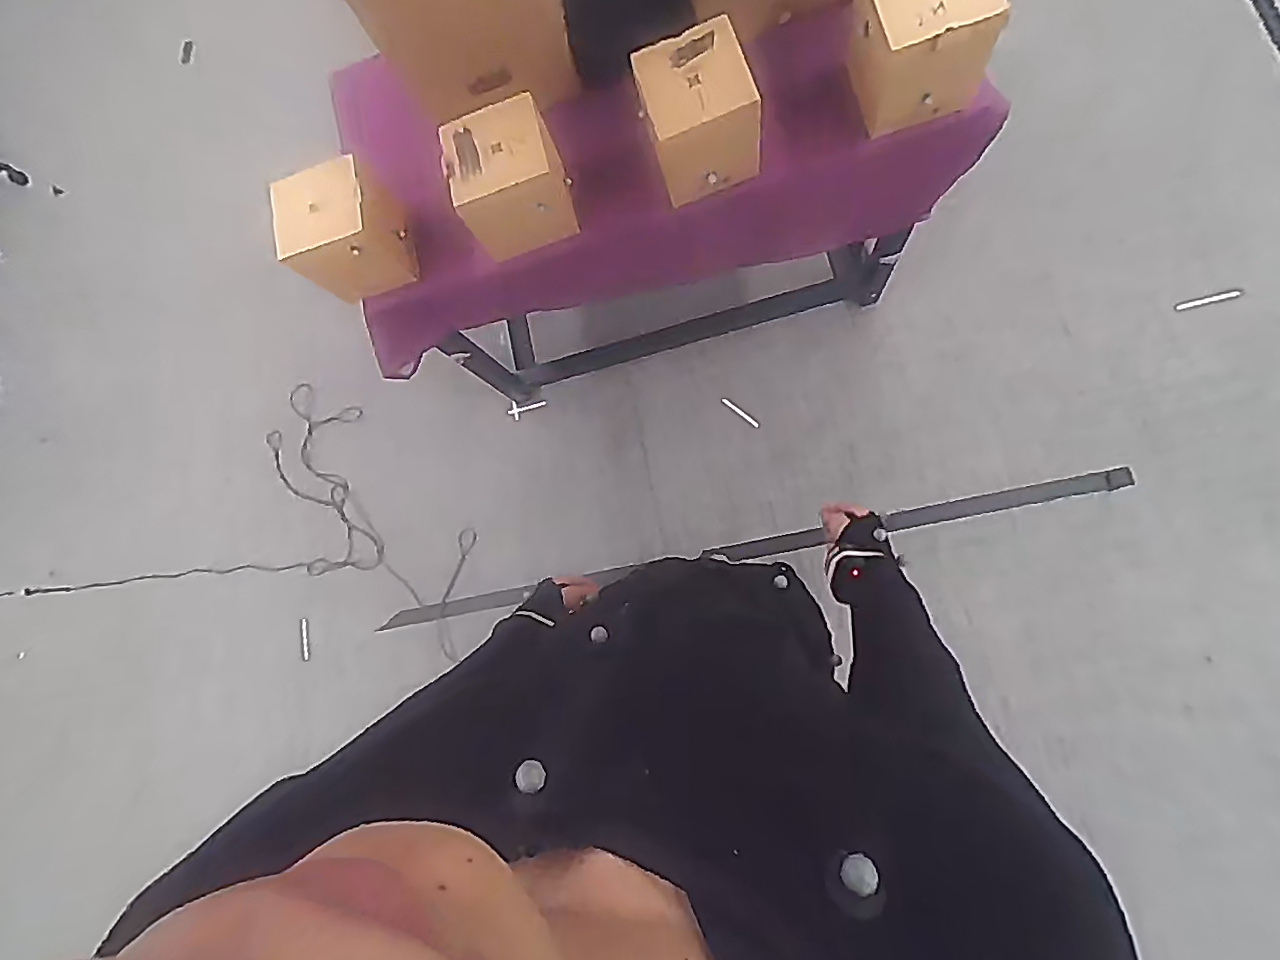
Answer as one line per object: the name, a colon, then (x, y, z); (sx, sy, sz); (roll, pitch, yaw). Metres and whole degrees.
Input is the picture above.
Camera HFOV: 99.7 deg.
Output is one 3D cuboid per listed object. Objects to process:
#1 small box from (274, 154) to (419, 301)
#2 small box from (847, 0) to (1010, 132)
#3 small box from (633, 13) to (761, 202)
small box: (-0.556, -0.472, 1.039); (0.179, 0.176, 0.168); (-15, 78, 8)
small box: (0.444, -0.714, 0.866); (0.168, 0.176, 0.179); (-13, 78, 11)
small box: (0.101, -0.624, 0.926); (0.168, 0.176, 0.179); (-18, 79, 9)
